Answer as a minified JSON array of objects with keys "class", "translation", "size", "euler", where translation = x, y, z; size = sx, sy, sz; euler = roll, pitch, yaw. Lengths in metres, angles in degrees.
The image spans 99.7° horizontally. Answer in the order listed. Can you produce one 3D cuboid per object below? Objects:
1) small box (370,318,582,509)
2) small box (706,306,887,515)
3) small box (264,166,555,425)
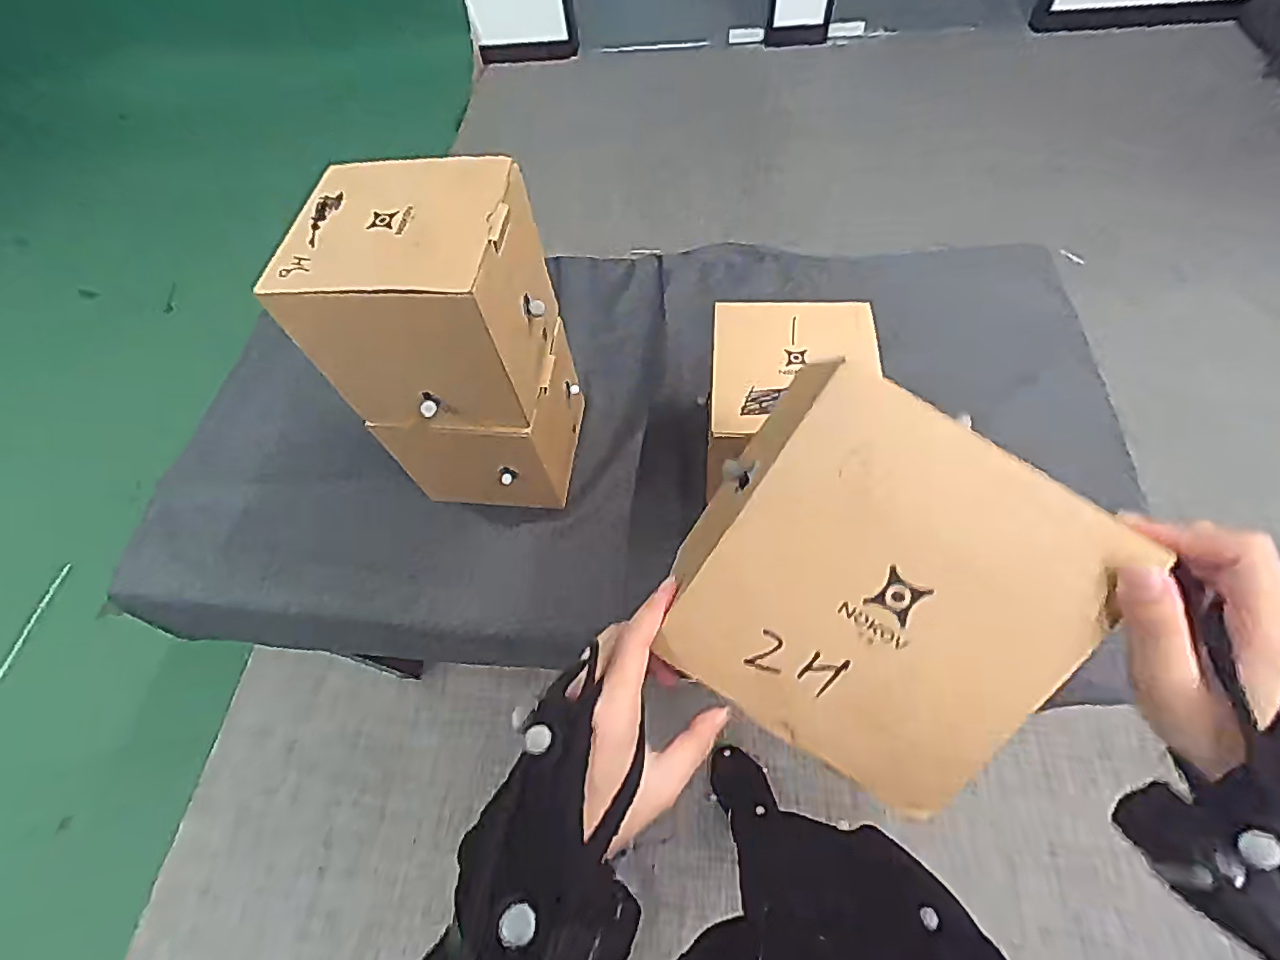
[{"class":"small box","translation":[-0.175,-0.075,0.646],"size":[0.179,0.176,0.168],"euler":[3,59,8]},{"class":"small box","translation":[0.161,-0.073,0.613],"size":[0.168,0.176,0.179],"euler":[2,60,6]},{"class":"small box","translation":[-0.188,-0.164,0.509],"size":[0.179,0.176,0.168],"euler":[2,60,6]}]
